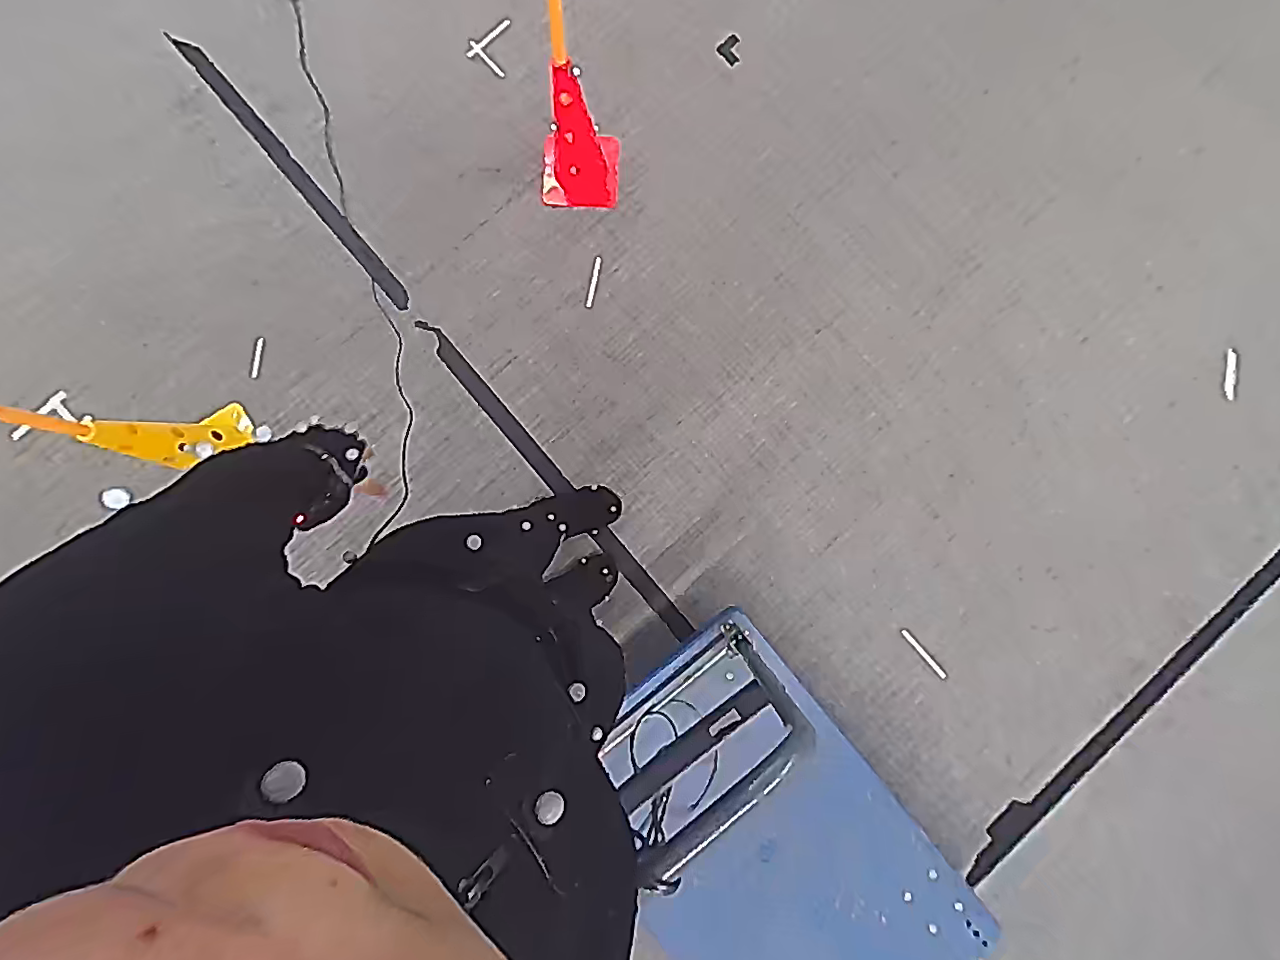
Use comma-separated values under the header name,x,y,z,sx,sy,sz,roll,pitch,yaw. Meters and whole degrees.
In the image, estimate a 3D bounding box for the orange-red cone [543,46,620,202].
name,x,y,z,sx,sy,sz,roll,pitch,yaw
orange-red cone,-0.158,-0.846,1.264,0.198,0.360,0.199,4,87,1
